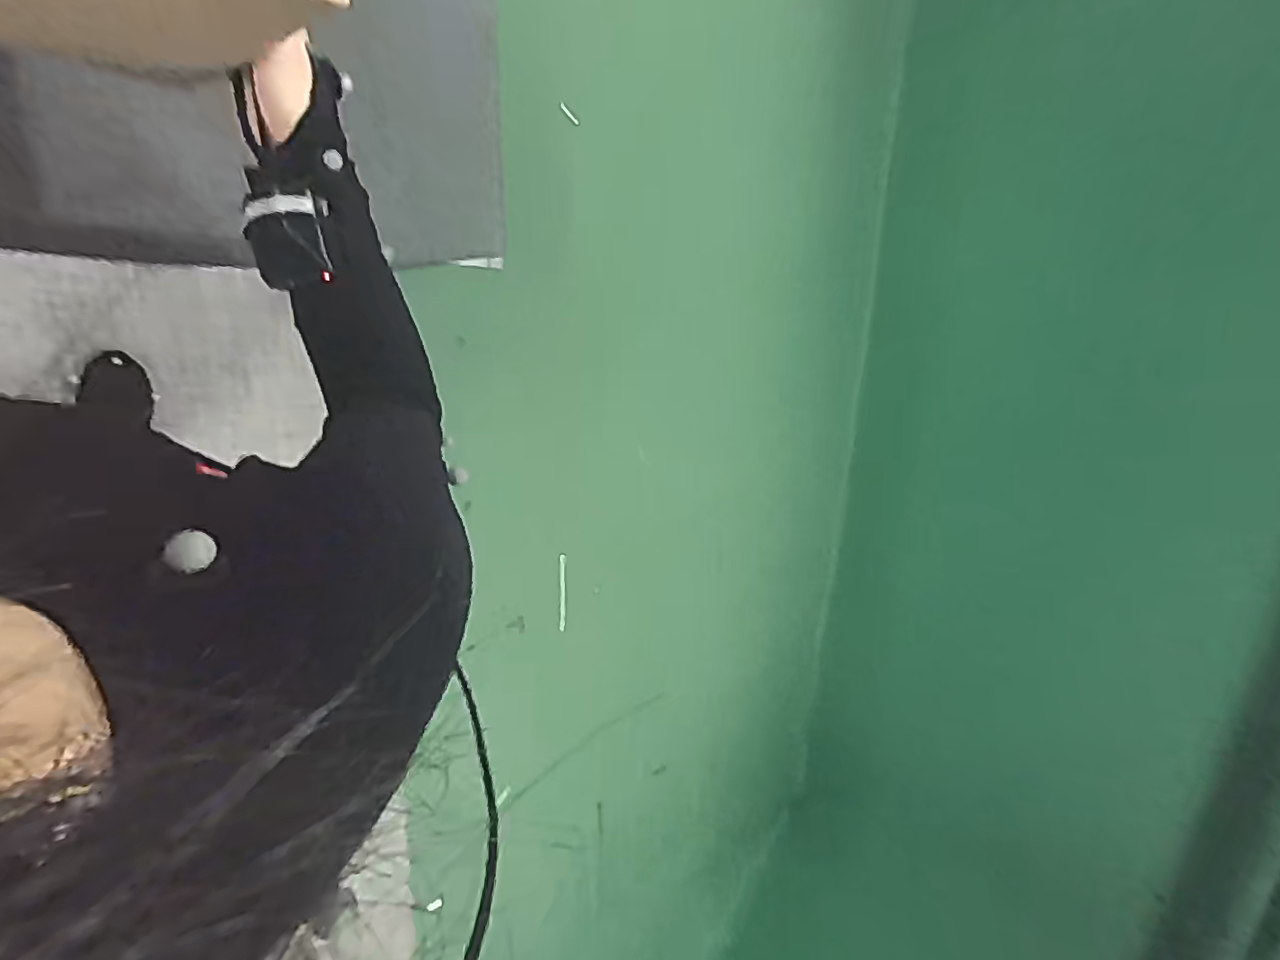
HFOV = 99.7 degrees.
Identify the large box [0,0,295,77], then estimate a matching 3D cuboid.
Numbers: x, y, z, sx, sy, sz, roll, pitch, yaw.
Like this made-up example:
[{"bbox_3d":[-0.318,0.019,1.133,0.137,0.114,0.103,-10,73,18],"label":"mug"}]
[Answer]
[{"bbox_3d":[-0.391,-0.400,0.180,0.408,0.320,0.320,-18,120,-47],"label":"large box"}]
